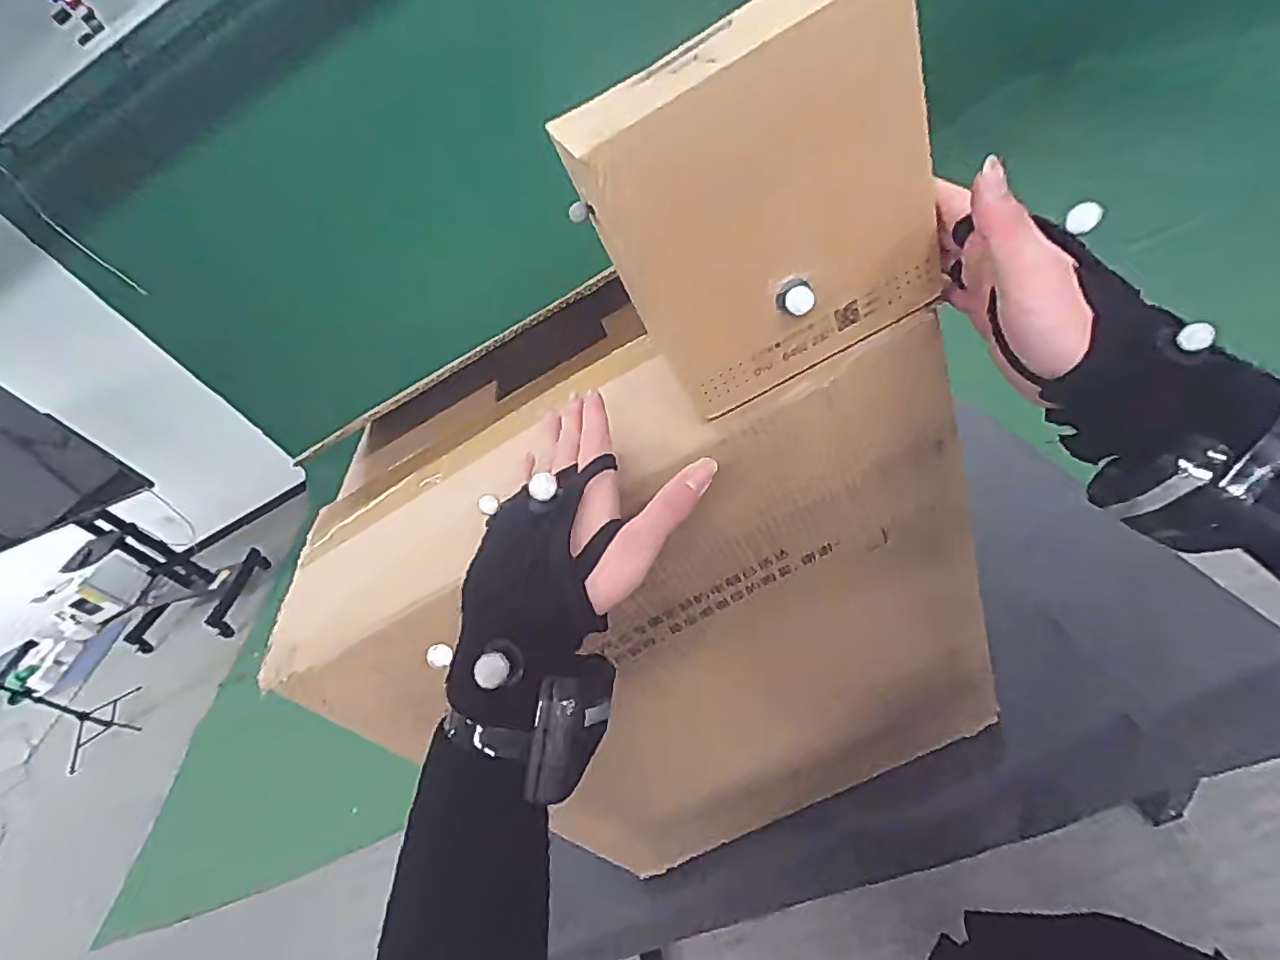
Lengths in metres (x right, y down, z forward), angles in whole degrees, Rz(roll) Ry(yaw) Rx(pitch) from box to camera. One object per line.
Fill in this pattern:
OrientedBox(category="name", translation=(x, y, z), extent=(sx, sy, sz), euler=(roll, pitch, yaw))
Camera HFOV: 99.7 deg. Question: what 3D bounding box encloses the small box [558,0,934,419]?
OrientedBox(category="small box", translation=(0.063, -0.171, 0.358), extent=(0.168, 0.176, 0.179), euler=(-28, 38, 6))
